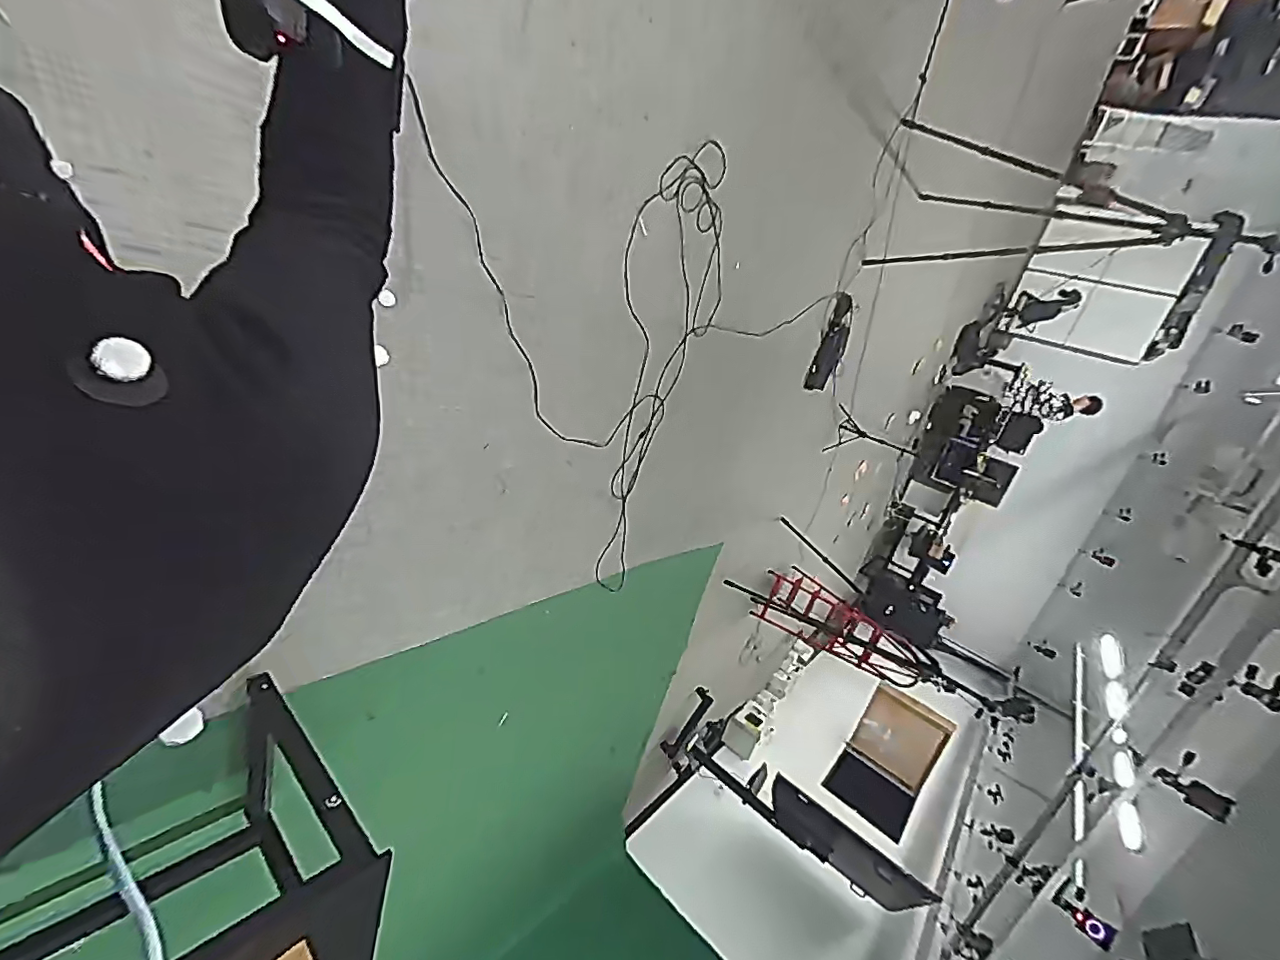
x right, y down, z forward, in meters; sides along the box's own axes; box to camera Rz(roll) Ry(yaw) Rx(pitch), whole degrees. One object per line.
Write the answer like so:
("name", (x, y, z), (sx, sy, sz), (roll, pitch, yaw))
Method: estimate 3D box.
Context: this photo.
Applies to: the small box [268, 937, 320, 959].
("small box", (-0.721, 1.086, 1.086), (0.168, 0.176, 0.179), (-19, 128, -46))
